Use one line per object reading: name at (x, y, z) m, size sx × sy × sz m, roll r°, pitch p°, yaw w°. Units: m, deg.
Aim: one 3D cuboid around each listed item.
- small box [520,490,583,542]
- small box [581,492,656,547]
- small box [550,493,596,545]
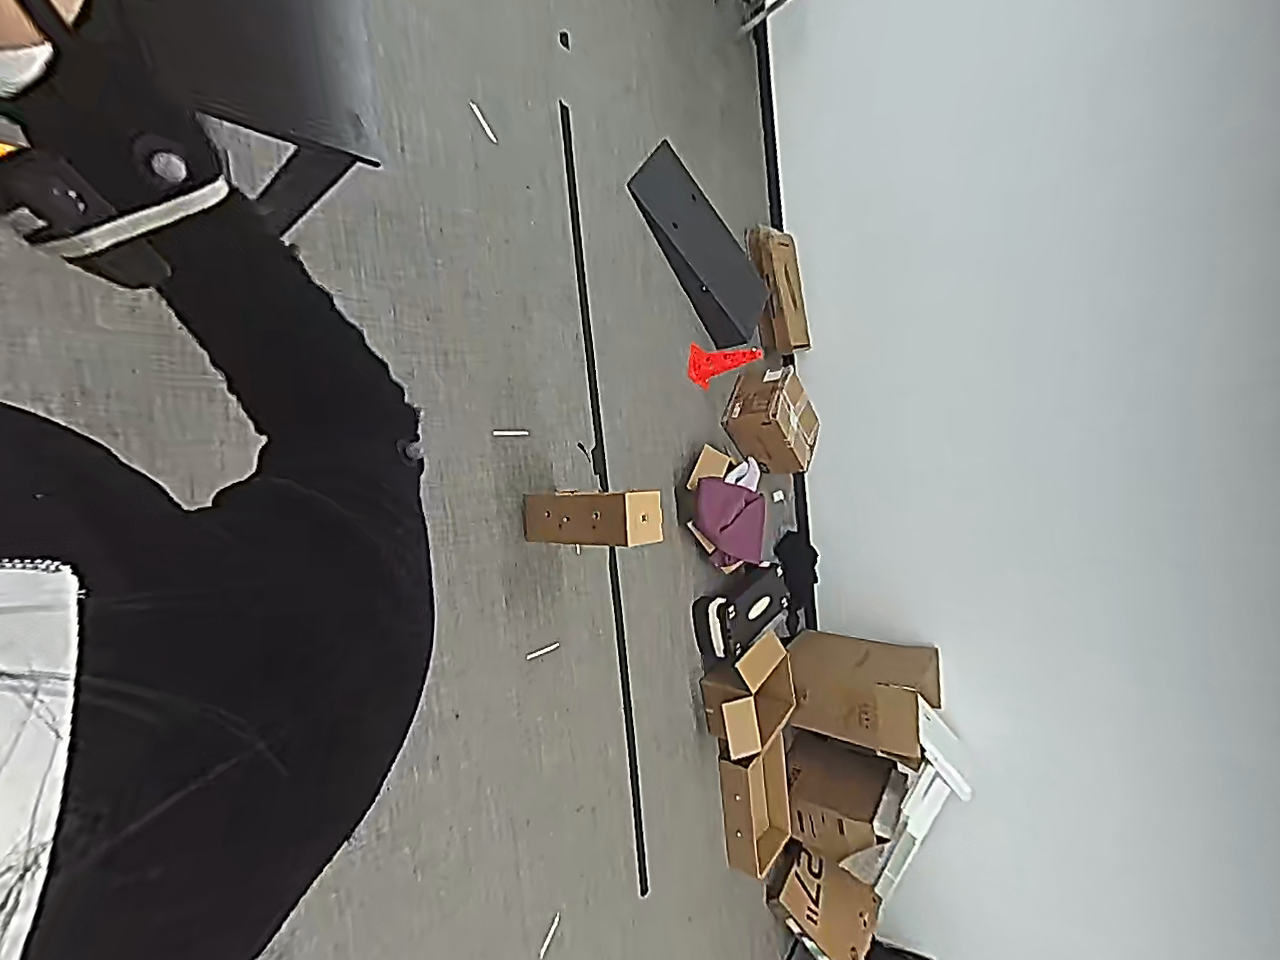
small box at (-0.317, 0.128, 1.946) m, size 0.168 × 0.176 × 0.179 m, roll -2°, pitch 90°, yaw -51°
small box at (-0.068, 0.122, 1.734) m, size 0.179 × 0.176 × 0.168 m, roll -2°, pitch 89°, yaw -50°
small box at (-0.186, 0.128, 1.847) m, size 0.179 × 0.176 × 0.168 m, roll -2°, pitch 89°, yaw -51°
